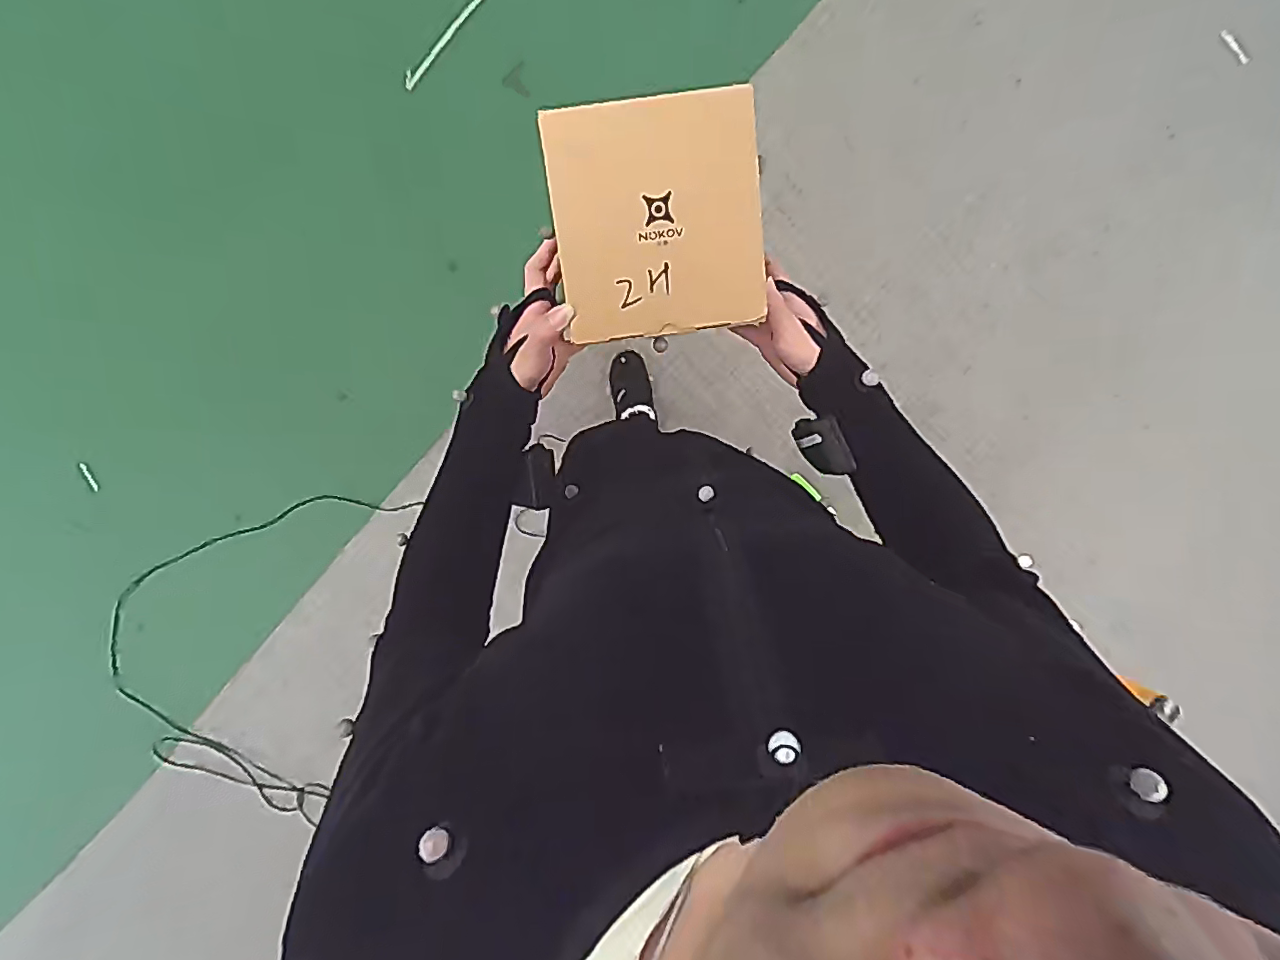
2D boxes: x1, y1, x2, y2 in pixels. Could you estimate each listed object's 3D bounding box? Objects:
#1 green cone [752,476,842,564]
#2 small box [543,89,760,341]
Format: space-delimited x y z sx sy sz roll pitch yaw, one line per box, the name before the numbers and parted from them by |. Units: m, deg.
green cone | 0.471 0.146 1.485 0.200 0.368 0.202 44 98 -8
small box | 0.010 -0.229 0.514 0.168 0.176 0.179 -7 105 0
